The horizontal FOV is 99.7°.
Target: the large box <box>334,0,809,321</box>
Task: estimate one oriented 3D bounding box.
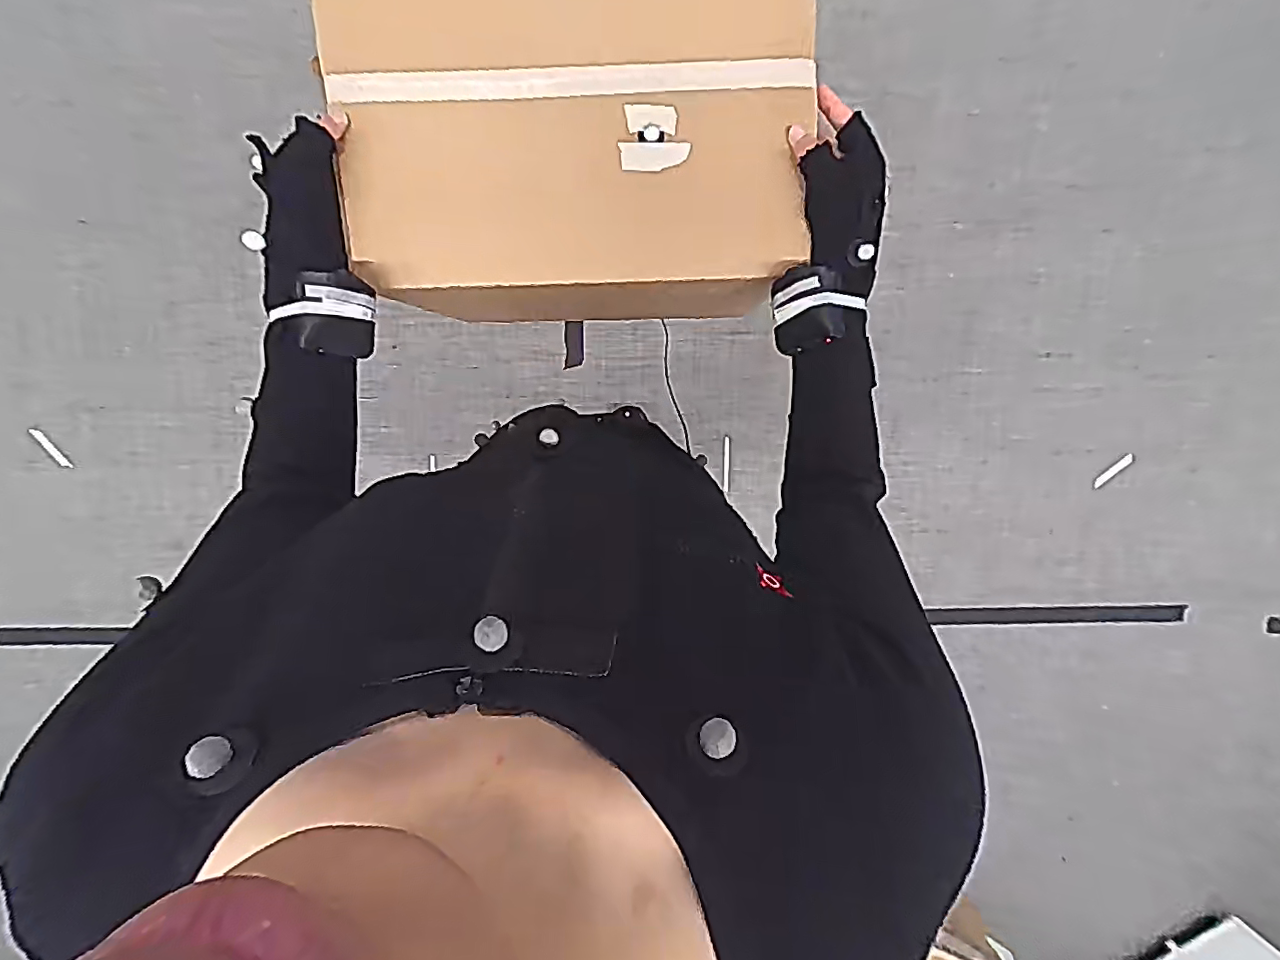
[{"bbox_3d":[-0.058,-0.363,0.611,0.408,0.320,0.320,-2,102,-1],"label":"large box"}]
